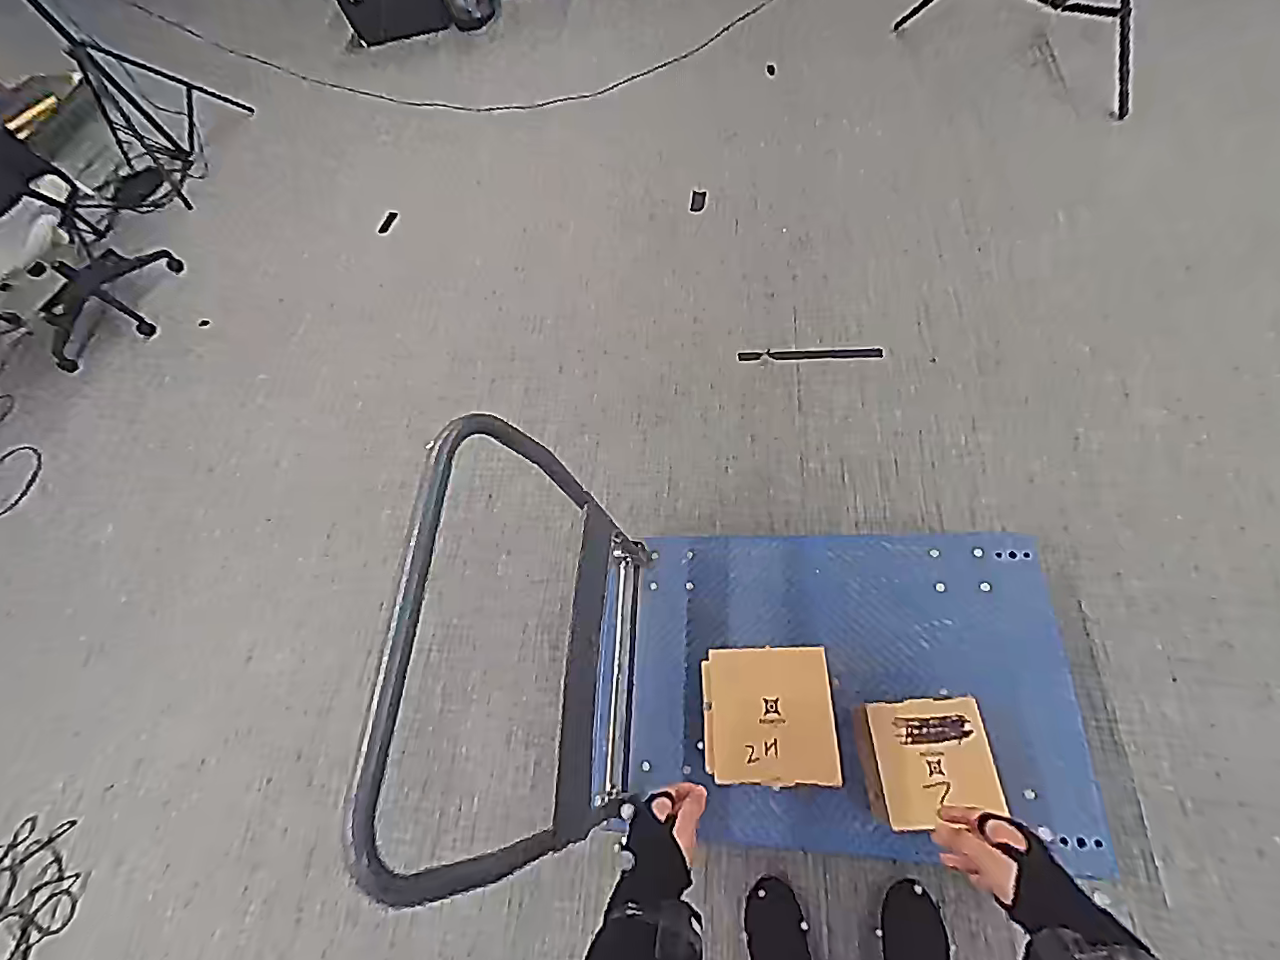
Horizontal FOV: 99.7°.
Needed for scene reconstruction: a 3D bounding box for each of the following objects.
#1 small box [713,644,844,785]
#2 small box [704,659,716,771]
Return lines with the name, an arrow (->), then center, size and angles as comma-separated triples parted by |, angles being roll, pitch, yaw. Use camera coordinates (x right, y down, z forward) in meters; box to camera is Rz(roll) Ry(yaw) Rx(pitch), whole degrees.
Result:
small box -> 0.197, 0.348, 0.810 | 0.168, 0.176, 0.179 | -4, 65, 11
small box -> 0.204, 0.418, 0.961 | 0.168, 0.176, 0.179 | -5, 65, 10
